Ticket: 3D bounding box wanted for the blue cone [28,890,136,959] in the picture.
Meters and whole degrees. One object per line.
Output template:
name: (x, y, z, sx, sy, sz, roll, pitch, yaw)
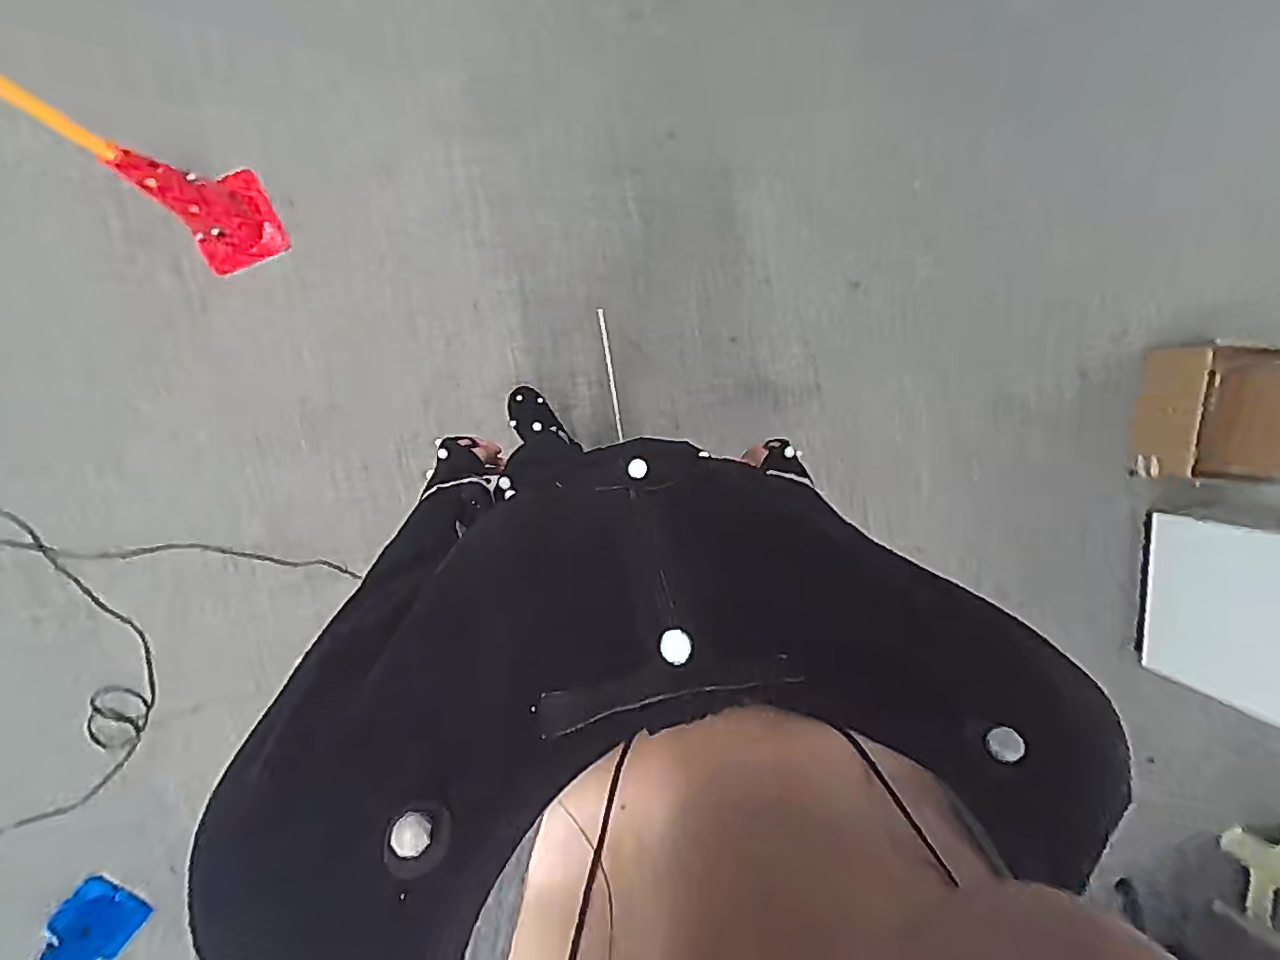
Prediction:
blue cone: (-1.438, 1.210, 1.271, 0.193, 0.380, 0.192, 39, 90, -13)
